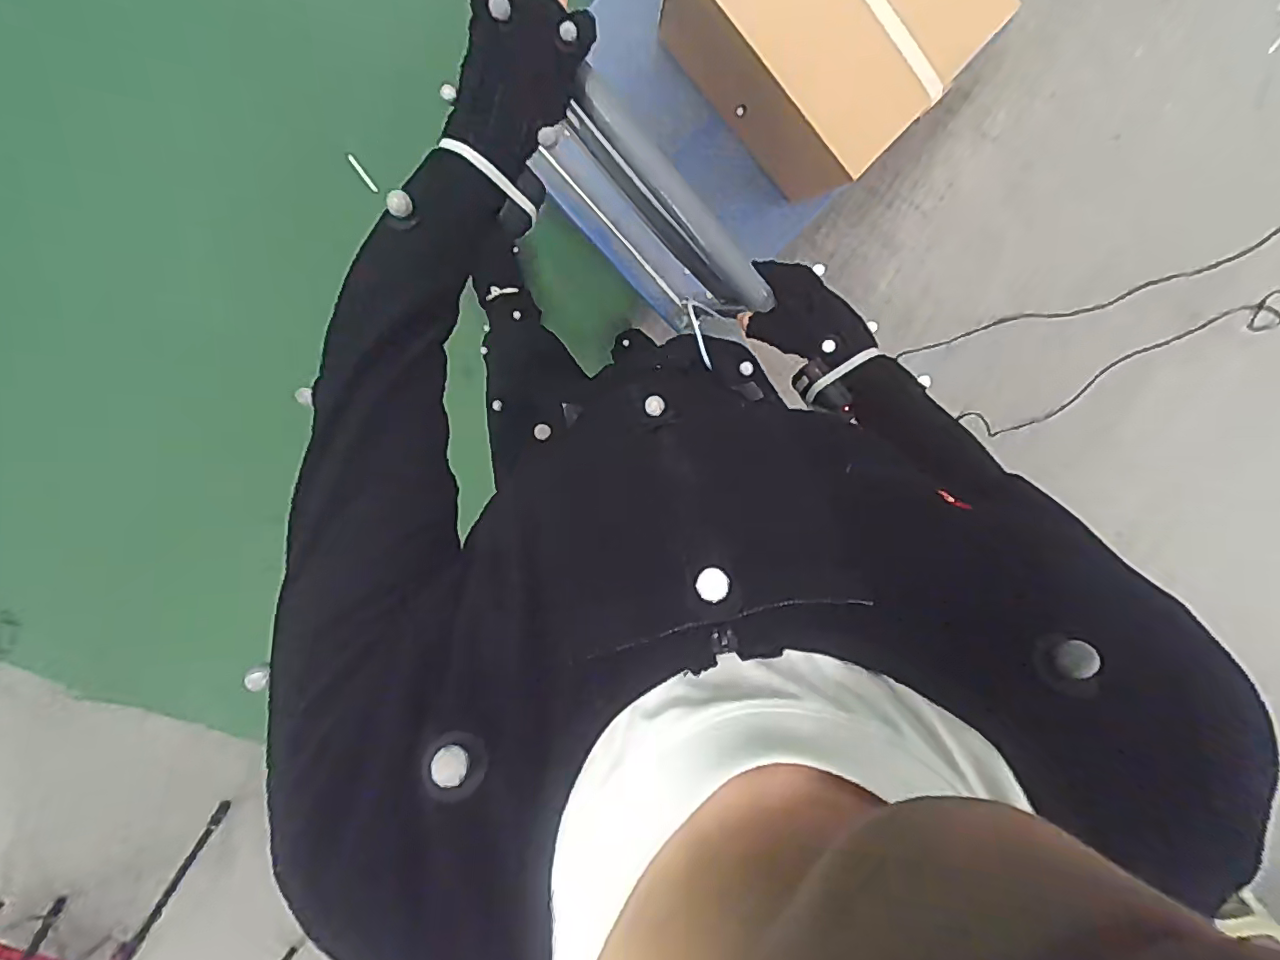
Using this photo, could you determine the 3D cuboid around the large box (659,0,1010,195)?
[{"bbox_3d":[0.284,-0.761,0.898,0.408,0.320,0.320,41,103,-16],"label":"large box"}]
